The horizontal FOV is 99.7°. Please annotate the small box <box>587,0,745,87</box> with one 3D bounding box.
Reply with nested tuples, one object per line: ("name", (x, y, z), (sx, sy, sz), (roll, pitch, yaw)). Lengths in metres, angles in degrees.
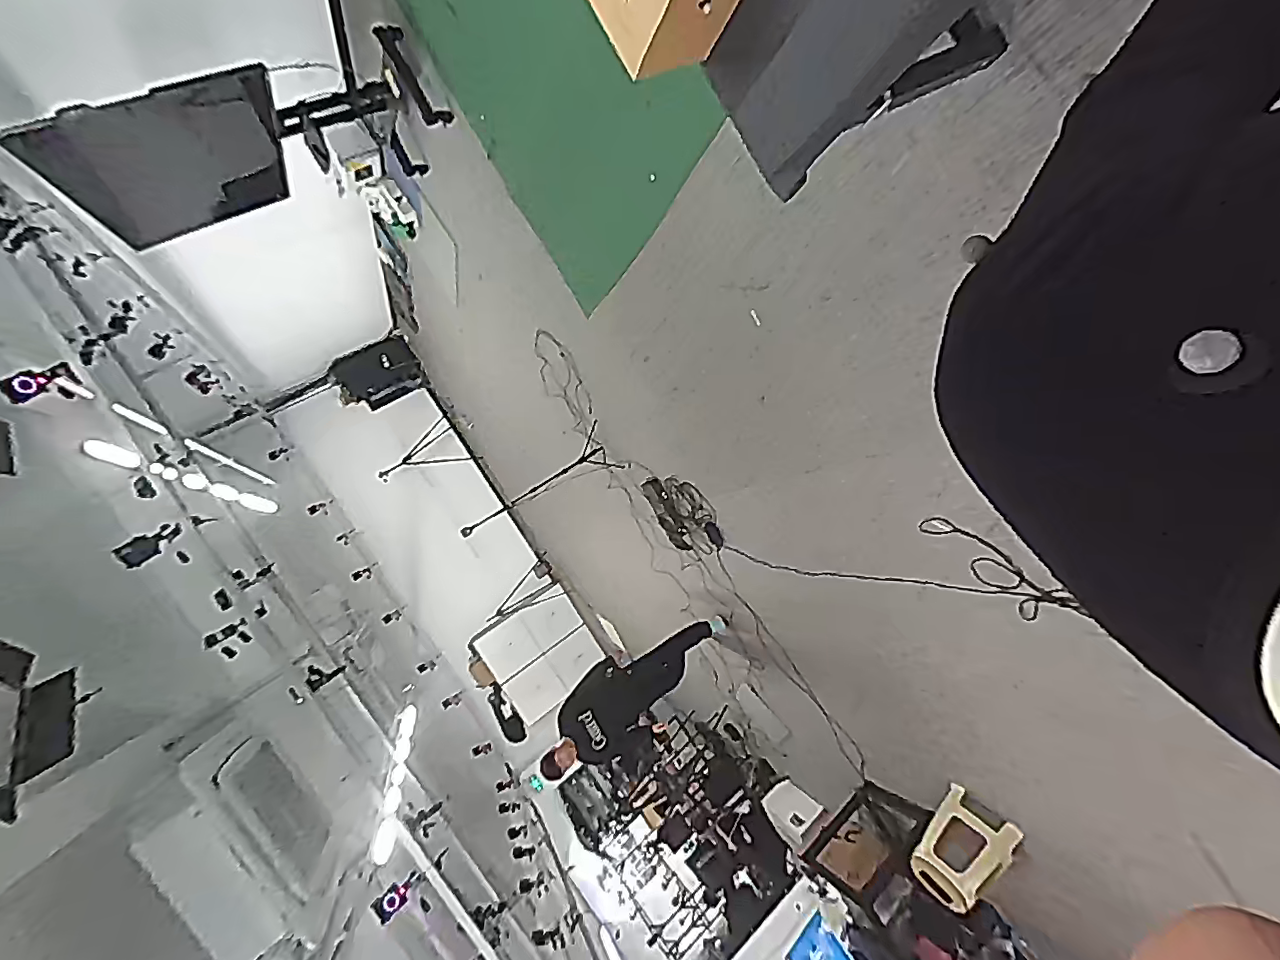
("small box", (0.046, -0.775, 0.849), (0.168, 0.176, 0.179), (61, 158, -6))
